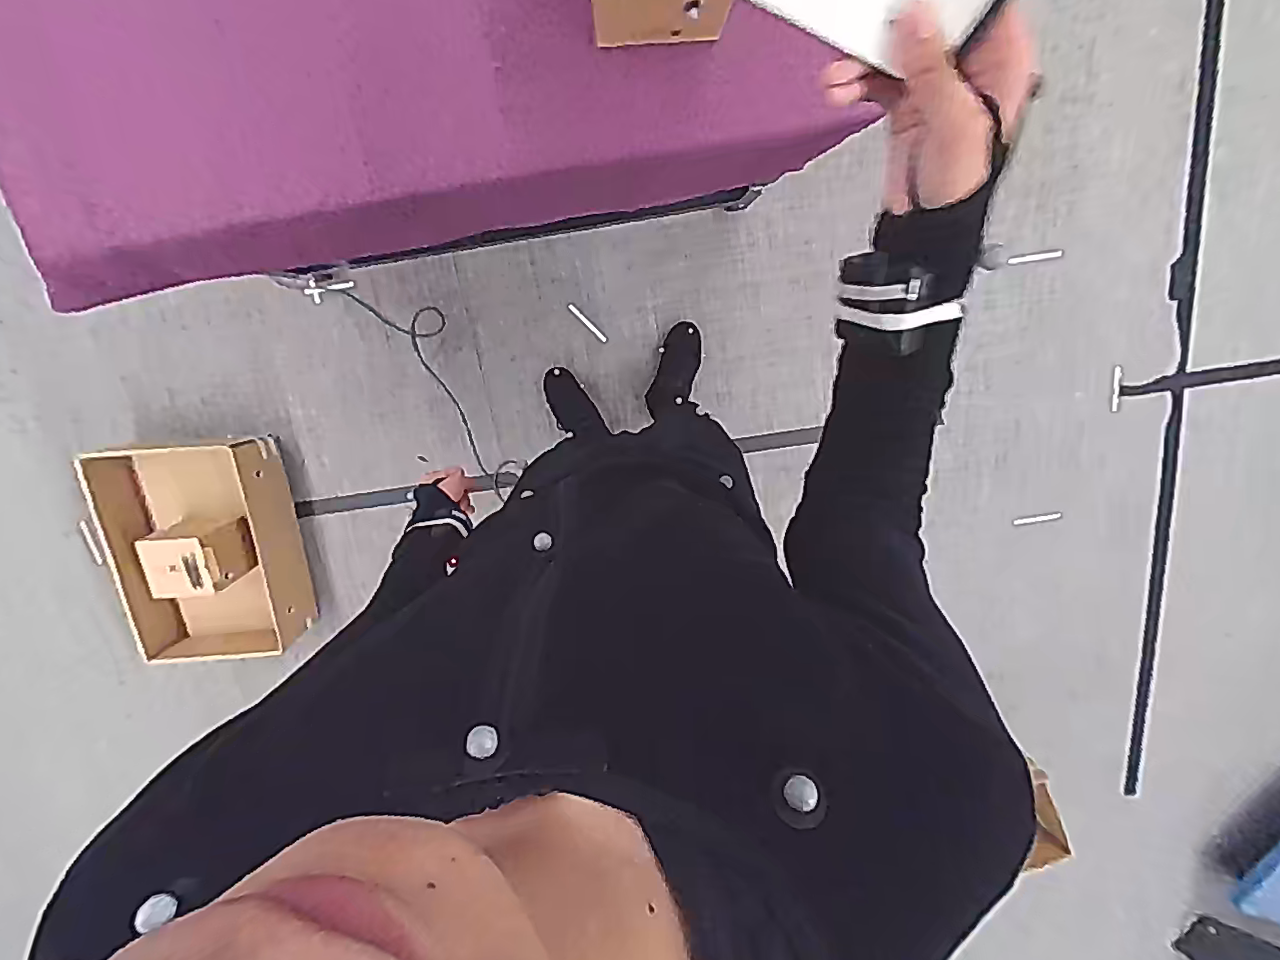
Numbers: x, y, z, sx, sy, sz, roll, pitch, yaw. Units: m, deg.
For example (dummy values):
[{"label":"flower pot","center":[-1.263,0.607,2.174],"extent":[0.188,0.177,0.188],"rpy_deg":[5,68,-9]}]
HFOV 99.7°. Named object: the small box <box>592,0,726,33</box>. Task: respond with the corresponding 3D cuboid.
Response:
[{"label":"small box","center":[0.022,-0.644,0.612],"extent":[0.168,0.176,0.179],"rpy_deg":[-4,105,-2]}]
